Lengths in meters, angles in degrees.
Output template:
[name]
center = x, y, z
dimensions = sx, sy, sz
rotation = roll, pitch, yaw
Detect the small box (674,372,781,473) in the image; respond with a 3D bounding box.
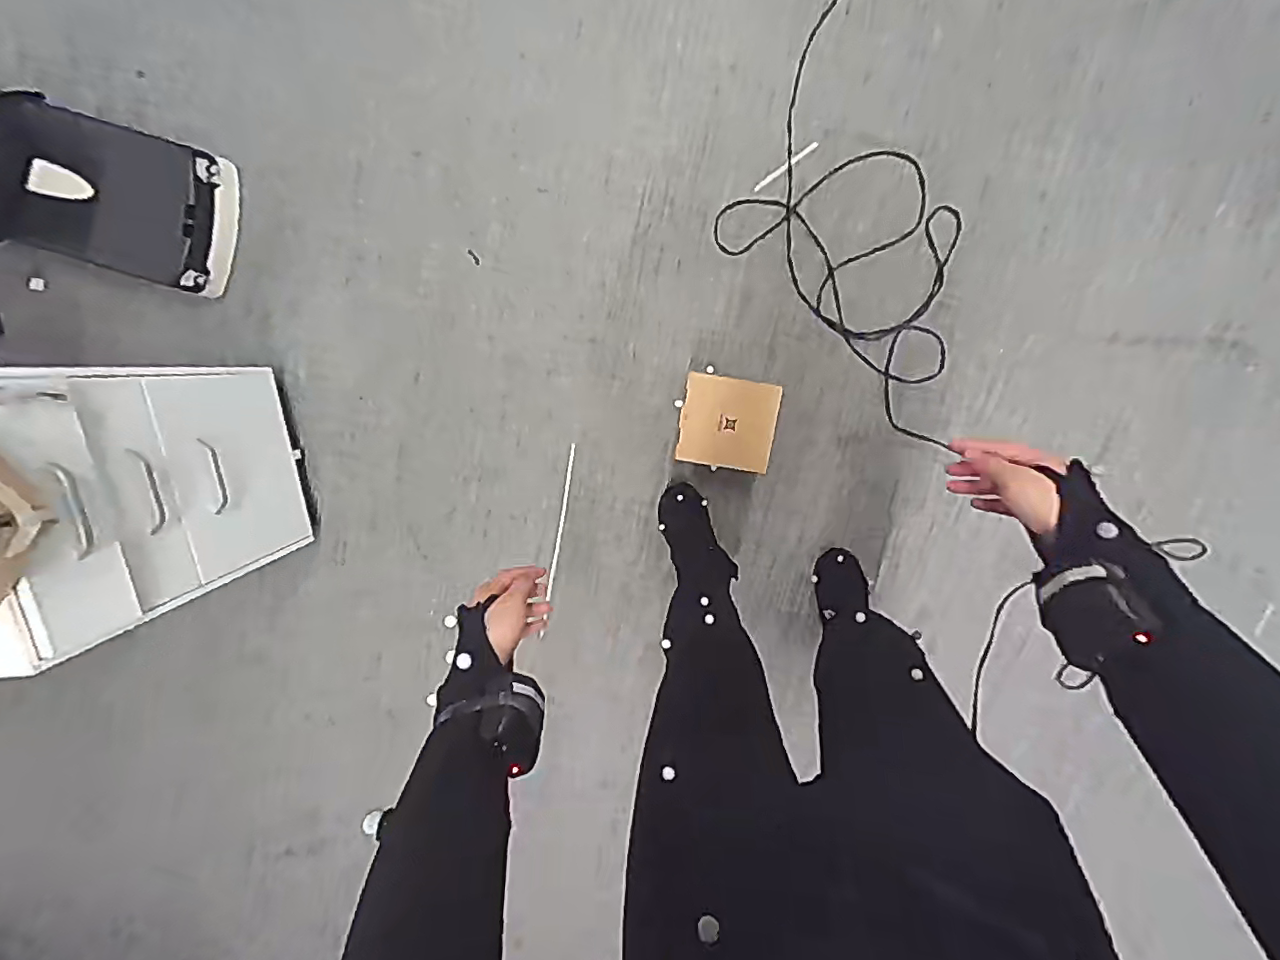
[small box]
center = 0.168, -0.122, 1.085
dimensions = 0.179, 0.176, 0.168
rotation = 9, 103, 3
